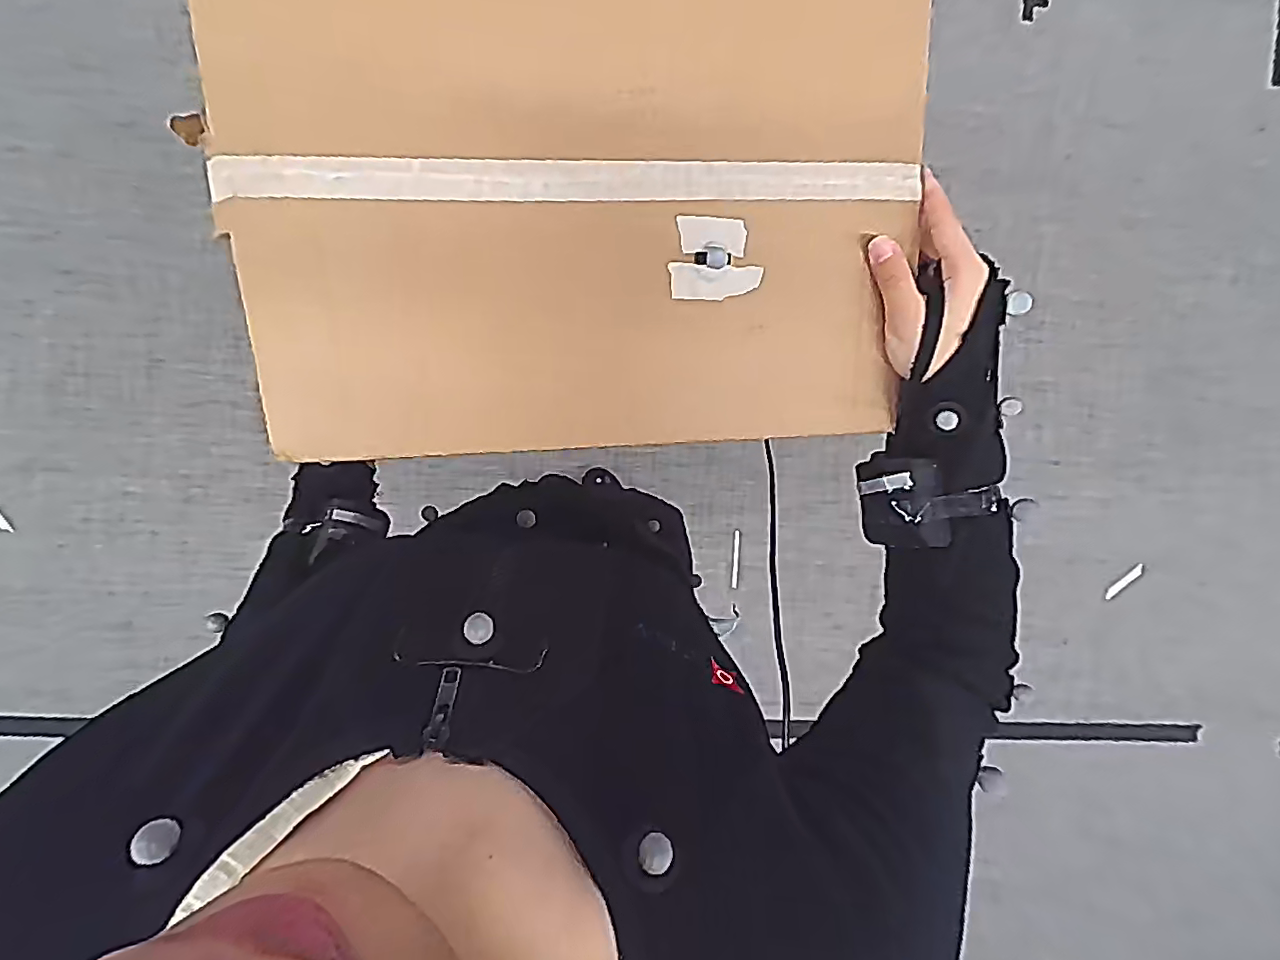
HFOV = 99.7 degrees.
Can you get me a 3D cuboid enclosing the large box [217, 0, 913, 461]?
[{"bbox_3d":[-0.046,-0.206,0.472,0.408,0.320,0.320,-4,103,-8],"label":"large box"}]
